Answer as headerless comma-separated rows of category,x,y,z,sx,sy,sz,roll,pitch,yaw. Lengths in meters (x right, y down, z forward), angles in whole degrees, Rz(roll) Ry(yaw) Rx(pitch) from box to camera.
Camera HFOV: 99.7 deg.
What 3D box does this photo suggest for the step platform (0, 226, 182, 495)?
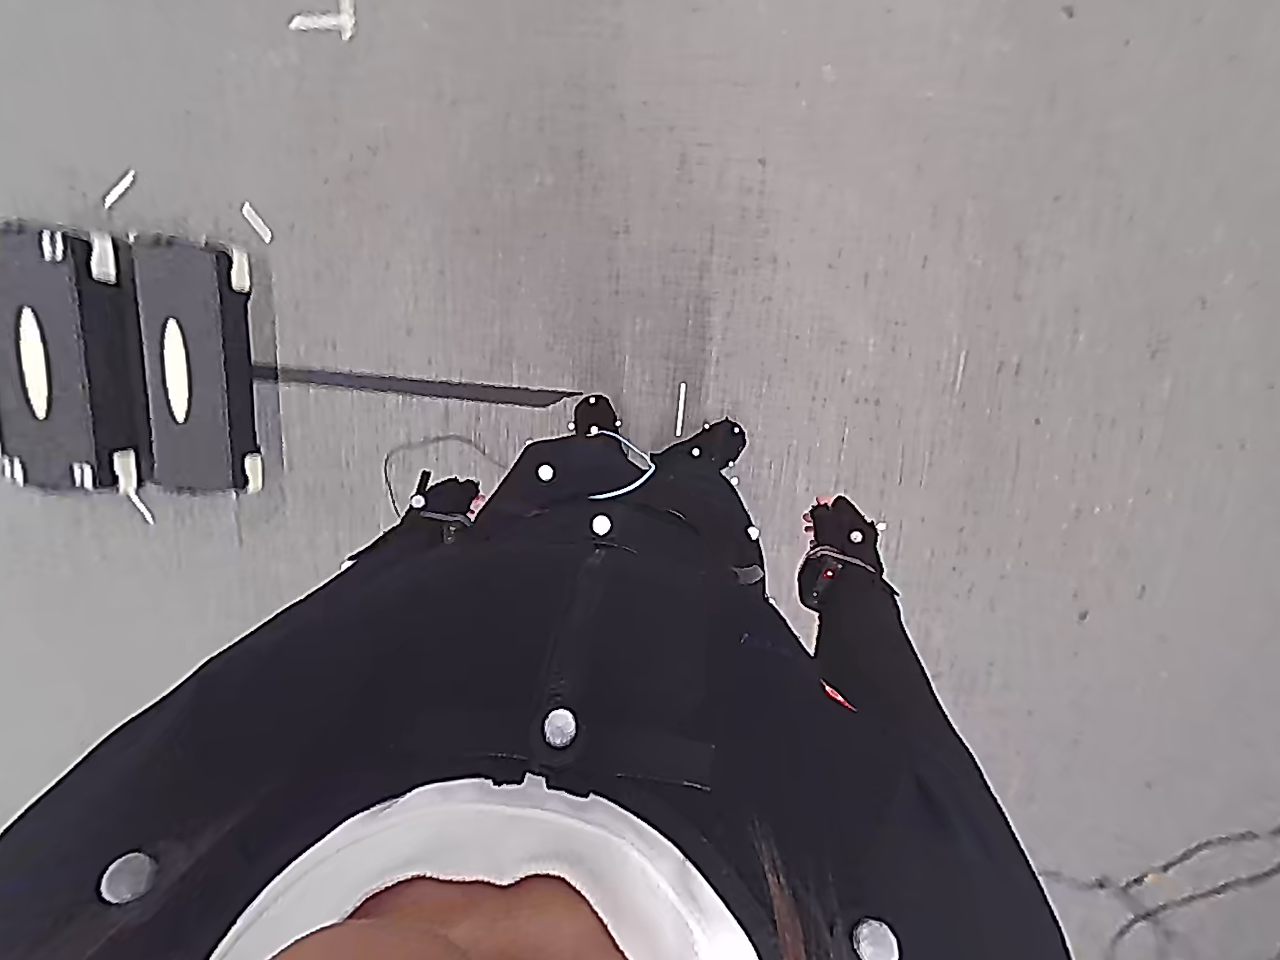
step platform,-1.467,-0.301,1.442,0.286,0.204,0.684,4,100,4
